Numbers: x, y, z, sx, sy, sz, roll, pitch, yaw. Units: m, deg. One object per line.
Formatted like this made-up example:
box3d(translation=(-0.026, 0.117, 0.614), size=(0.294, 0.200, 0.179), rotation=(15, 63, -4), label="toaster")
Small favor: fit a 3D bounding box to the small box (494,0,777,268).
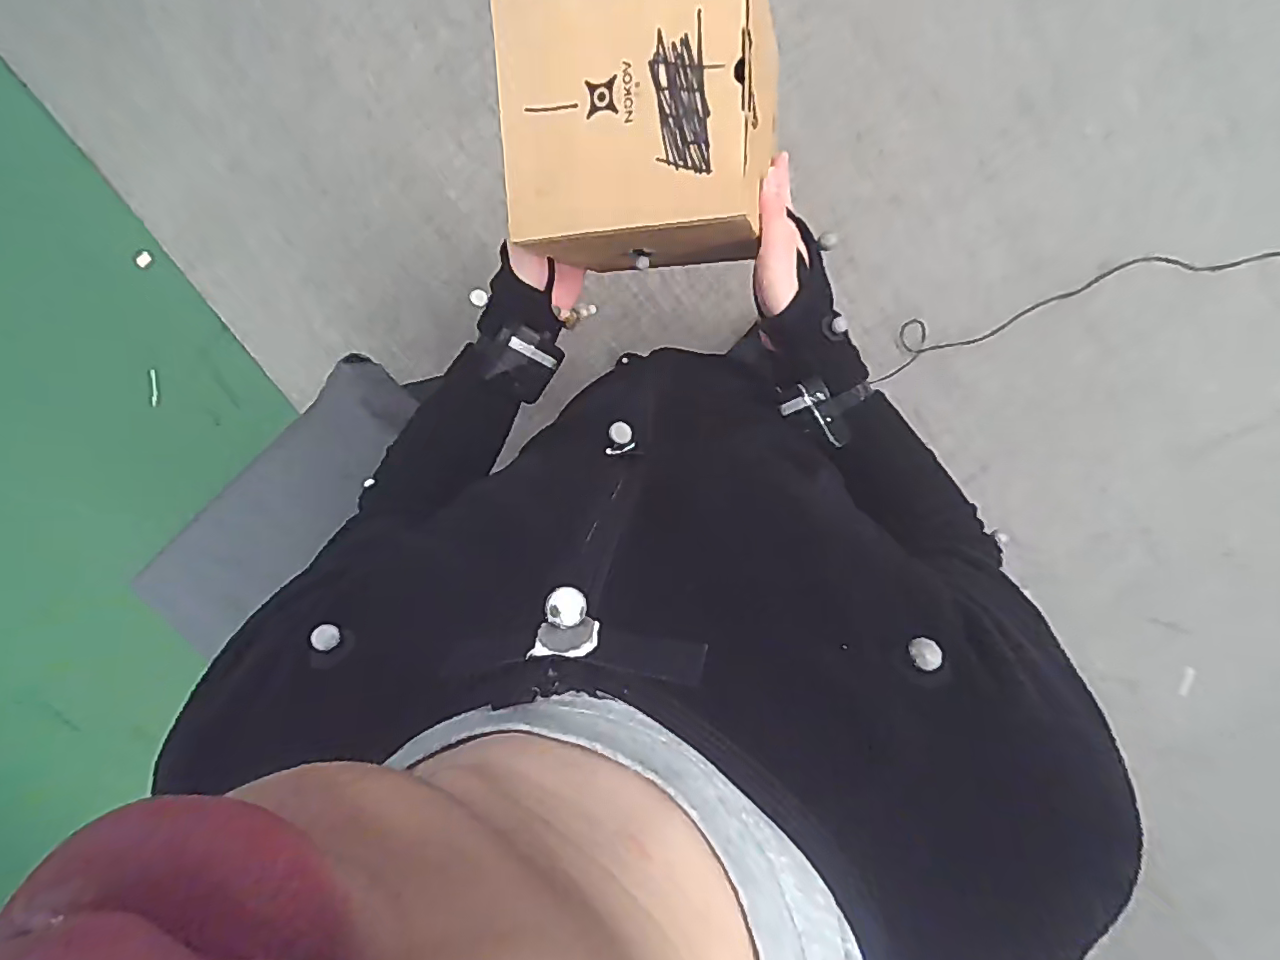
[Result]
box3d(translation=(0.012, -0.269, 0.427), size=(0.179, 0.176, 0.168), rotation=(3, 104, 20), label="small box")
